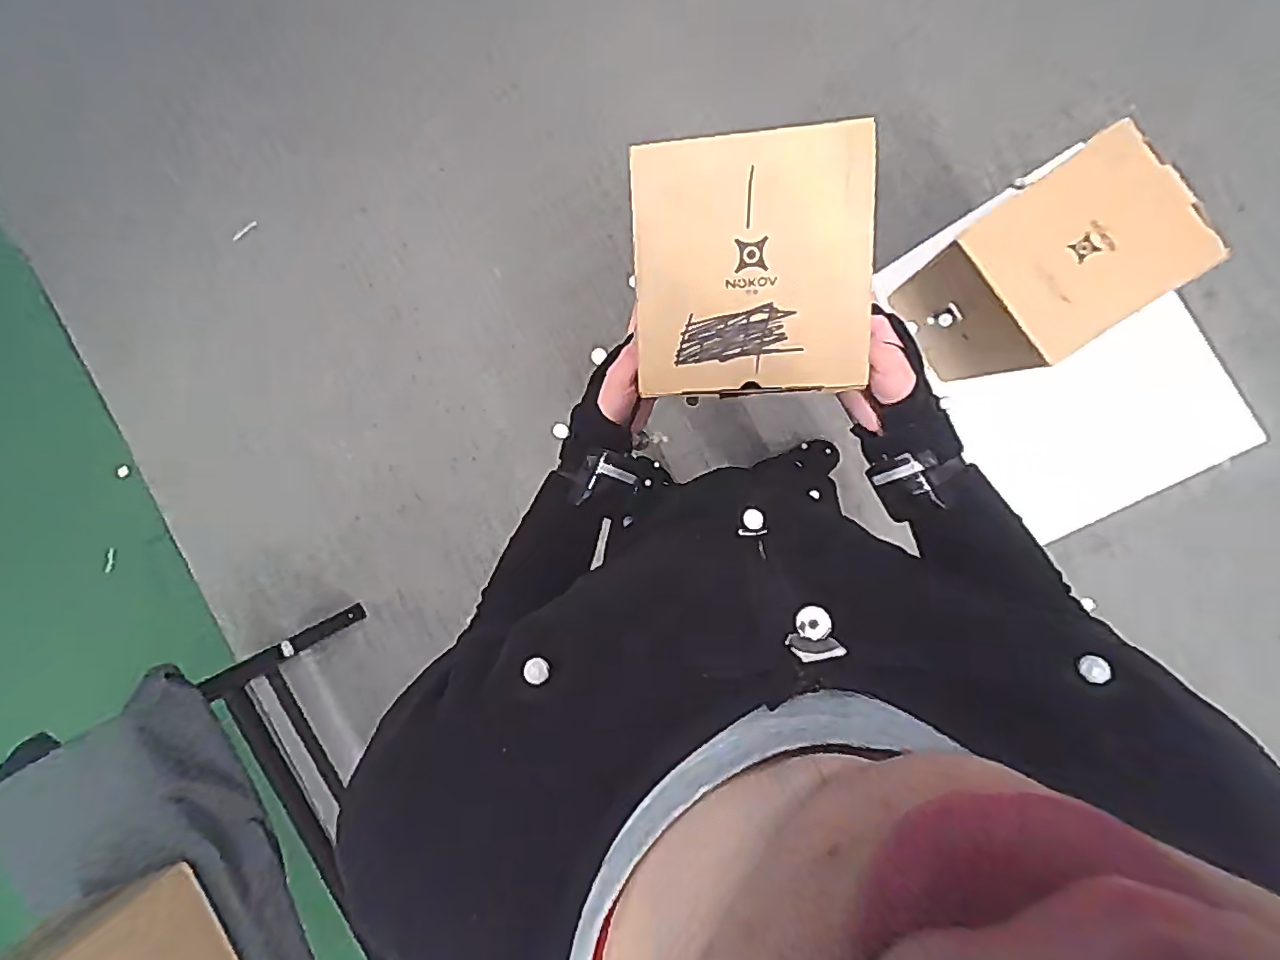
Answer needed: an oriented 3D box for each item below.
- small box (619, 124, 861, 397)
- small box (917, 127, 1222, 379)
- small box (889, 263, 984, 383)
[{"bbox_3d":[0.080,-0.163,0.460,0.168,0.176,0.179,0,100,9],"label":"small box"},{"bbox_3d":[0.450,-0.231,0.605,0.179,0.176,0.168,-35,88,15],"label":"small box"},{"bbox_3d":[0.486,-0.253,0.762,0.179,0.176,0.168,-32,90,14],"label":"small box"}]
